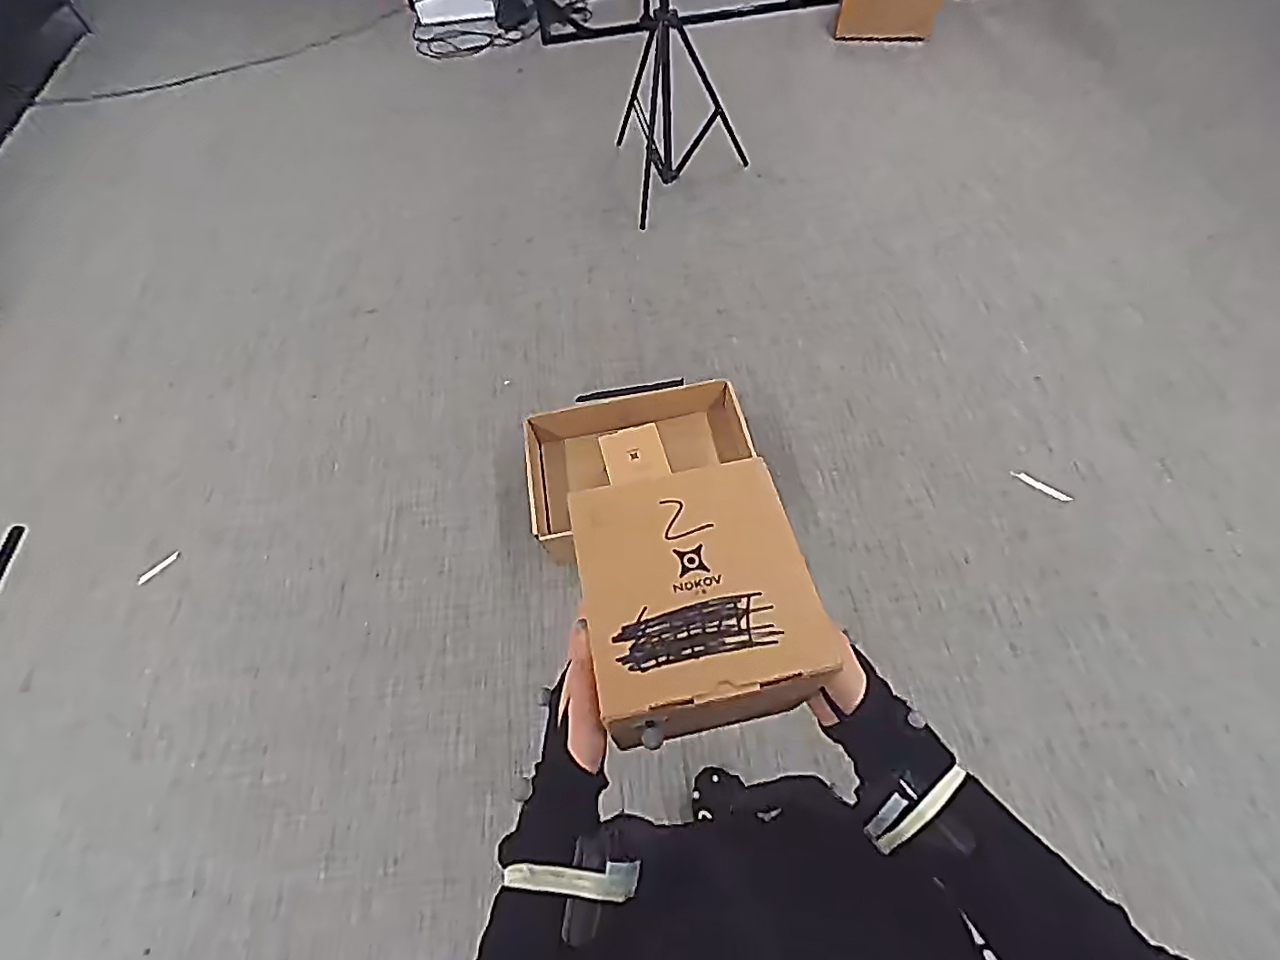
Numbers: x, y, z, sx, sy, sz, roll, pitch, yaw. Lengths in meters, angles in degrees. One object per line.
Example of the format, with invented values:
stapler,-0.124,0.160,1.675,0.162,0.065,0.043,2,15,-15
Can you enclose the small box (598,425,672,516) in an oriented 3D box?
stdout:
small box,-0.013,-0.025,1.527,0.168,0.176,0.179,-16,62,-3
